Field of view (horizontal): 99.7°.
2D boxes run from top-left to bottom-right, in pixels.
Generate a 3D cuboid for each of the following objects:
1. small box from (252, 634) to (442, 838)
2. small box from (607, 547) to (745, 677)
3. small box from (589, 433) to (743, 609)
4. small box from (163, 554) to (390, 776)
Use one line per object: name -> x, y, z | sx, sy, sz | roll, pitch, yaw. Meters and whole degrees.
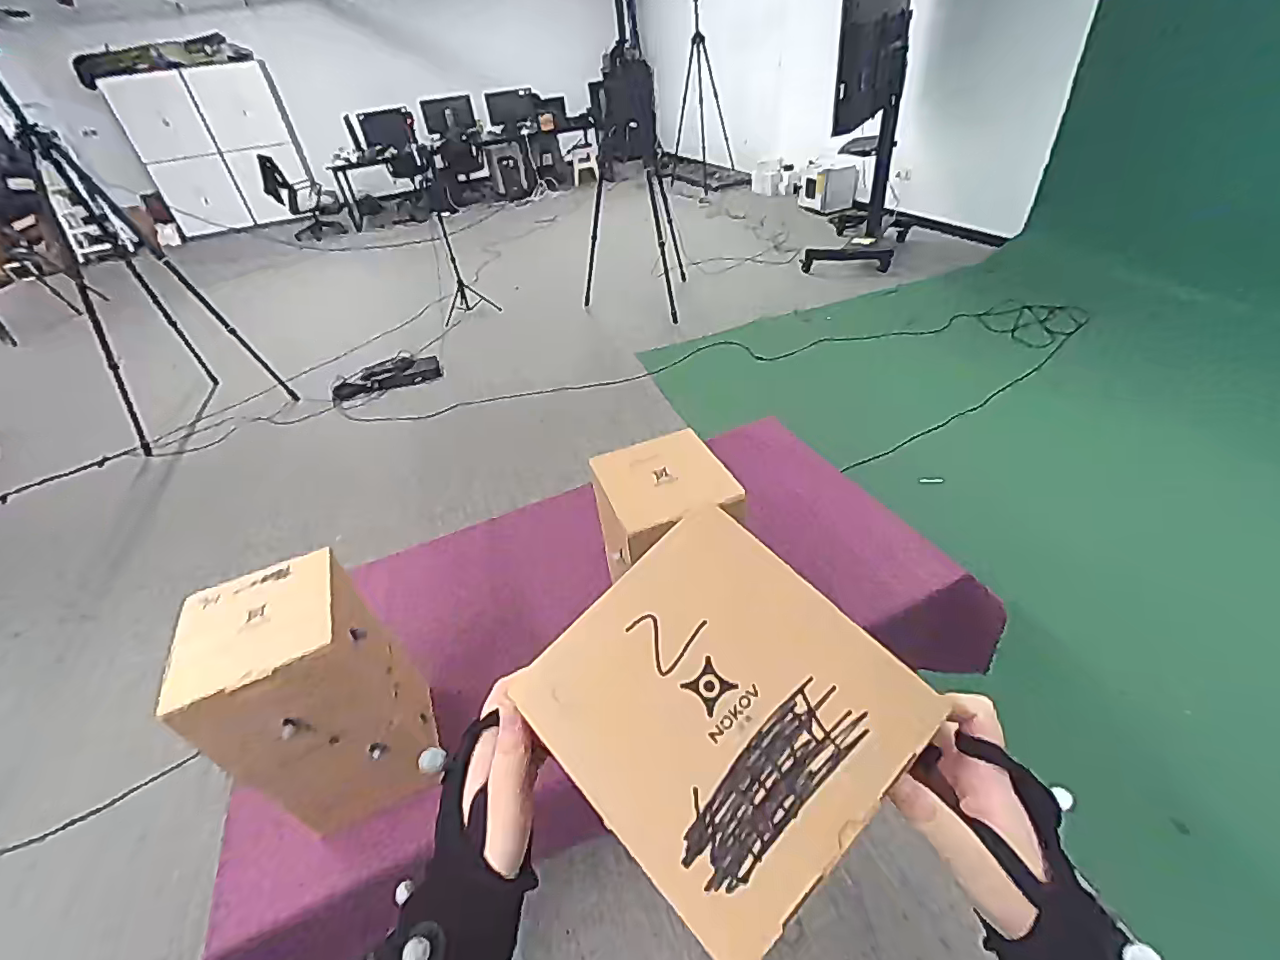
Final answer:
small box -> -0.402, 0.360, 0.764 | 0.179, 0.176, 0.168 | -20, 38, -17
small box -> 0.061, 0.193, 0.881 | 0.168, 0.176, 0.179 | -19, 39, -13
small box -> 0.040, 0.063, 0.783 | 0.168, 0.176, 0.179 | -18, 39, -12
small box -> -0.425, 0.230, 0.665 | 0.168, 0.176, 0.179 | -21, 40, -17
